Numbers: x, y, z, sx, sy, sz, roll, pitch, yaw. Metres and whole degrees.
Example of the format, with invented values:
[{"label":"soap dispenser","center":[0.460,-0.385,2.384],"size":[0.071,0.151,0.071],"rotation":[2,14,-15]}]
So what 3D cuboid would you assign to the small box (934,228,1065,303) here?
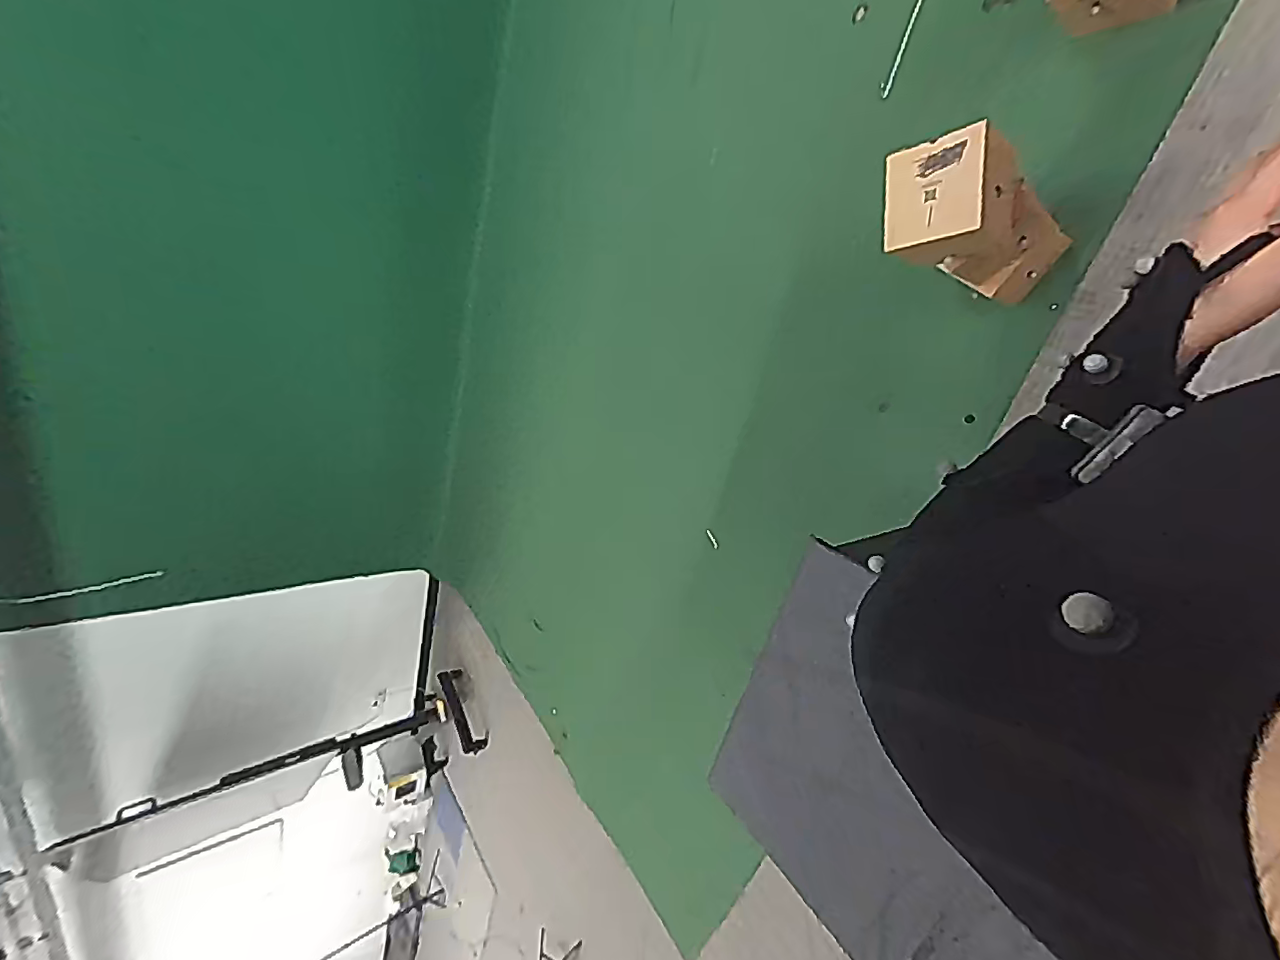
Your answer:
[{"label":"small box","center":[0.810,-0.521,1.227],"size":[0.179,0.176,0.168],"rotation":[54,130,32]}]

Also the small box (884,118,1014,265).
[{"label":"small box","center":[0.573,-0.518,1.002],"size":[0.168,0.176,0.179],"rotation":[6,99,48]}]

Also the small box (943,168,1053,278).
[{"label":"small box","center":[0.699,-0.536,1.105],"size":[0.168,0.176,0.179],"rotation":[-37,66,43]}]

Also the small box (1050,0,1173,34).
[{"label":"small box","center":[0.928,-1.010,1.042],"size":[0.179,0.176,0.168],"rotation":[26,113,46]}]
